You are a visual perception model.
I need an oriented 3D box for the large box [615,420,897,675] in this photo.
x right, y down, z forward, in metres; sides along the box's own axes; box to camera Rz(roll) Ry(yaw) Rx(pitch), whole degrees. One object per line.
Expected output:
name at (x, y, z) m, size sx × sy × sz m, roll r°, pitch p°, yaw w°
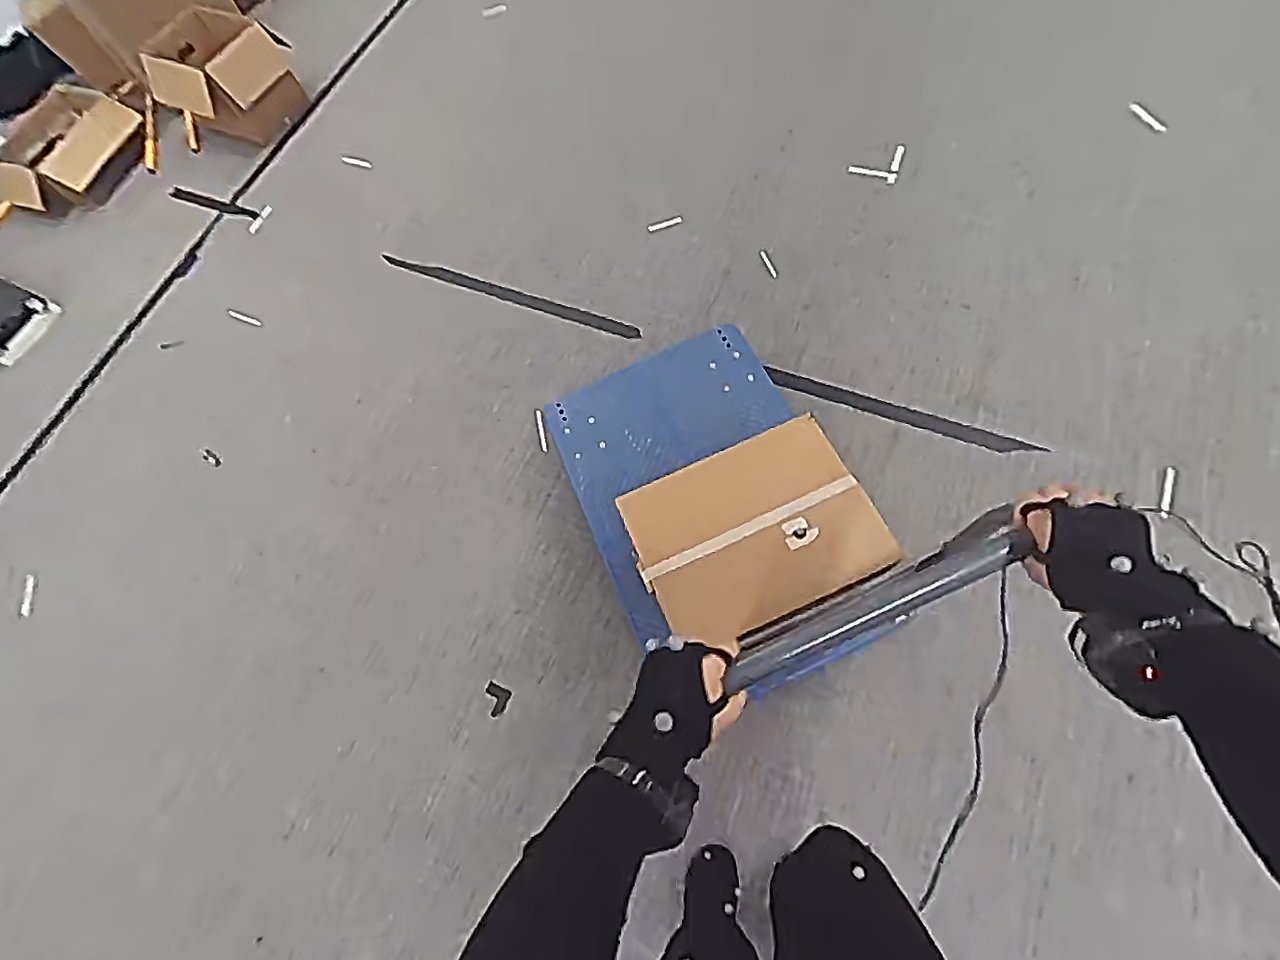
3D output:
large box at (0.207, 0.151, 1.078) m, size 0.408 × 0.320 × 0.320 m, roll -24°, pitch 67°, yaw -3°
